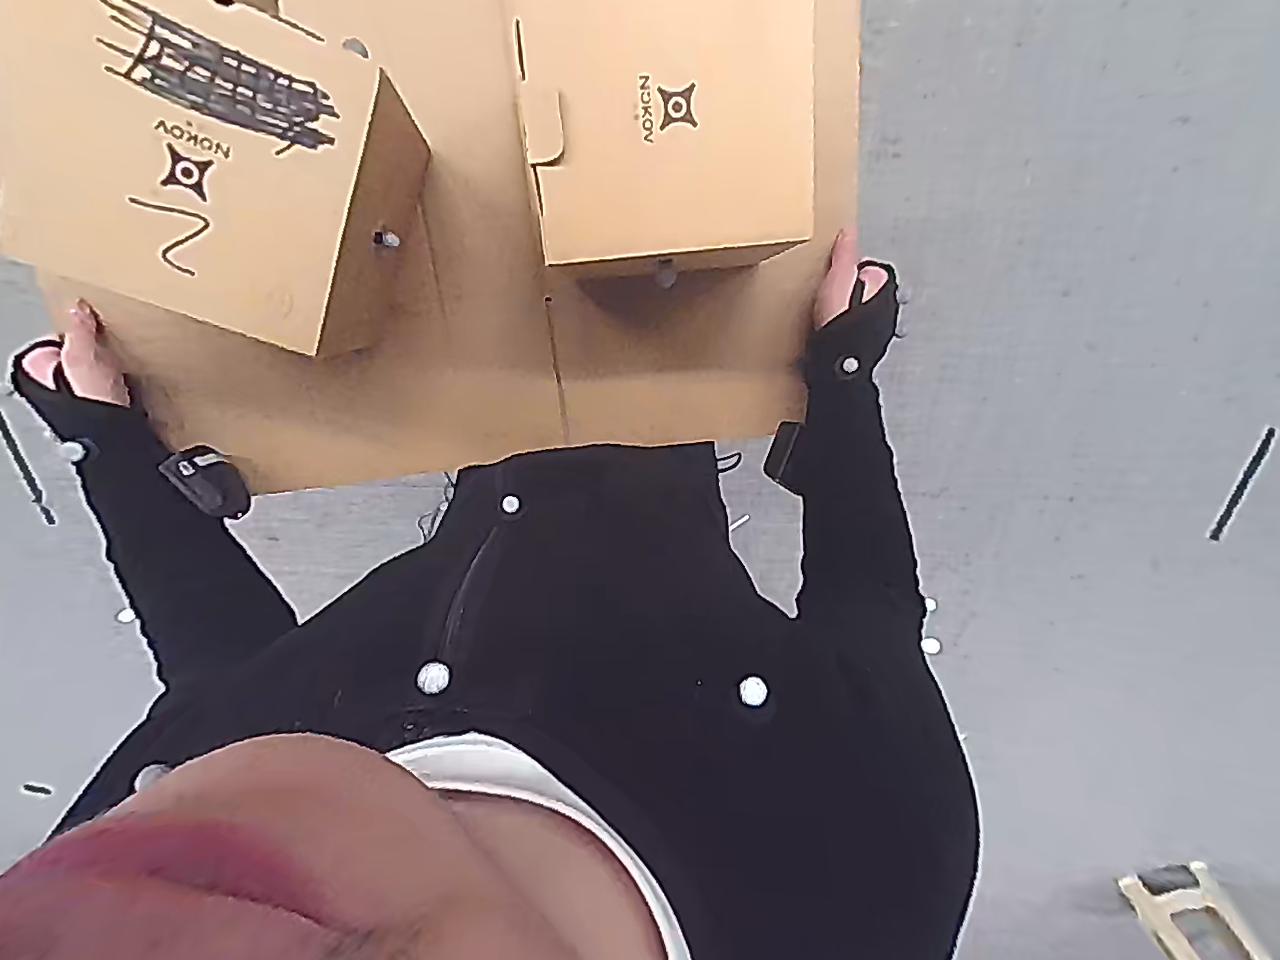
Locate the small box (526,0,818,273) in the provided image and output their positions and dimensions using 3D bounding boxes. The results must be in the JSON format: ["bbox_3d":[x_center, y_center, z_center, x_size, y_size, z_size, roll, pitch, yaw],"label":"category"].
[{"bbox_3d":[0.025,-0.256,0.414,0.179,0.176,0.168,-5,108,3],"label":"small box"}]
